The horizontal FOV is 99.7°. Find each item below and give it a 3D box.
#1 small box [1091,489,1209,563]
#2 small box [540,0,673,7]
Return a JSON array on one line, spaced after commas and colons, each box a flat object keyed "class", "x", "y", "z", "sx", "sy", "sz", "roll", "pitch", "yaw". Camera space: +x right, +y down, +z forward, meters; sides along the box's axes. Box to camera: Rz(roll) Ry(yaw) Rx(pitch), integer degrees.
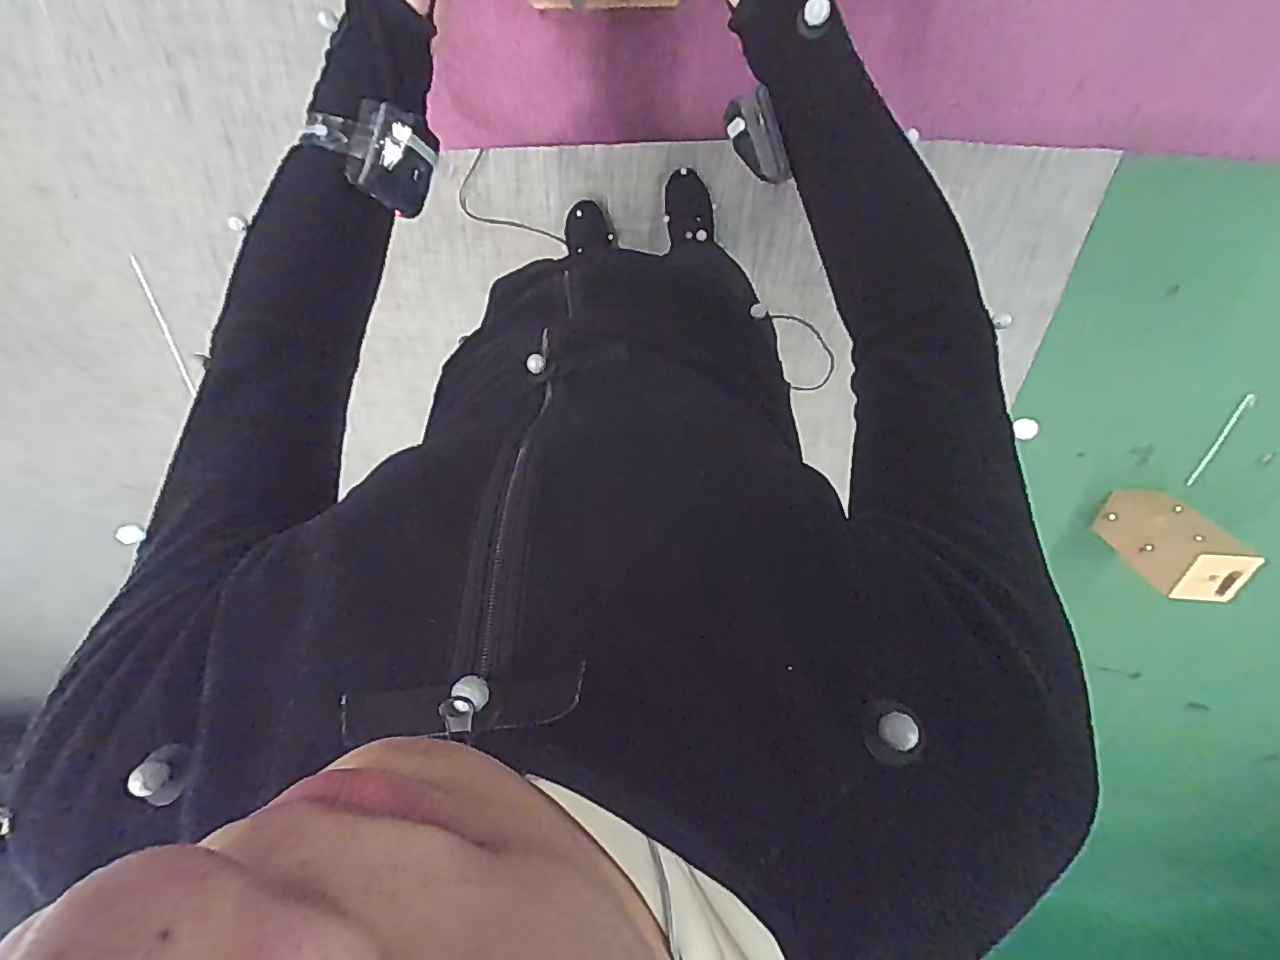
[{"class": "small box", "x": 1.605, "y": 0.144, "z": 1.715, "sx": 0.179, "sy": 0.176, "sz": 0.168, "roll": 5, "pitch": 122, "yaw": 0}, {"class": "small box", "x": -0.043, "y": -0.566, "z": 0.501, "sx": 0.168, "sy": 0.176, "sz": 0.179, "roll": 1, "pitch": 121, "yaw": 2}]
